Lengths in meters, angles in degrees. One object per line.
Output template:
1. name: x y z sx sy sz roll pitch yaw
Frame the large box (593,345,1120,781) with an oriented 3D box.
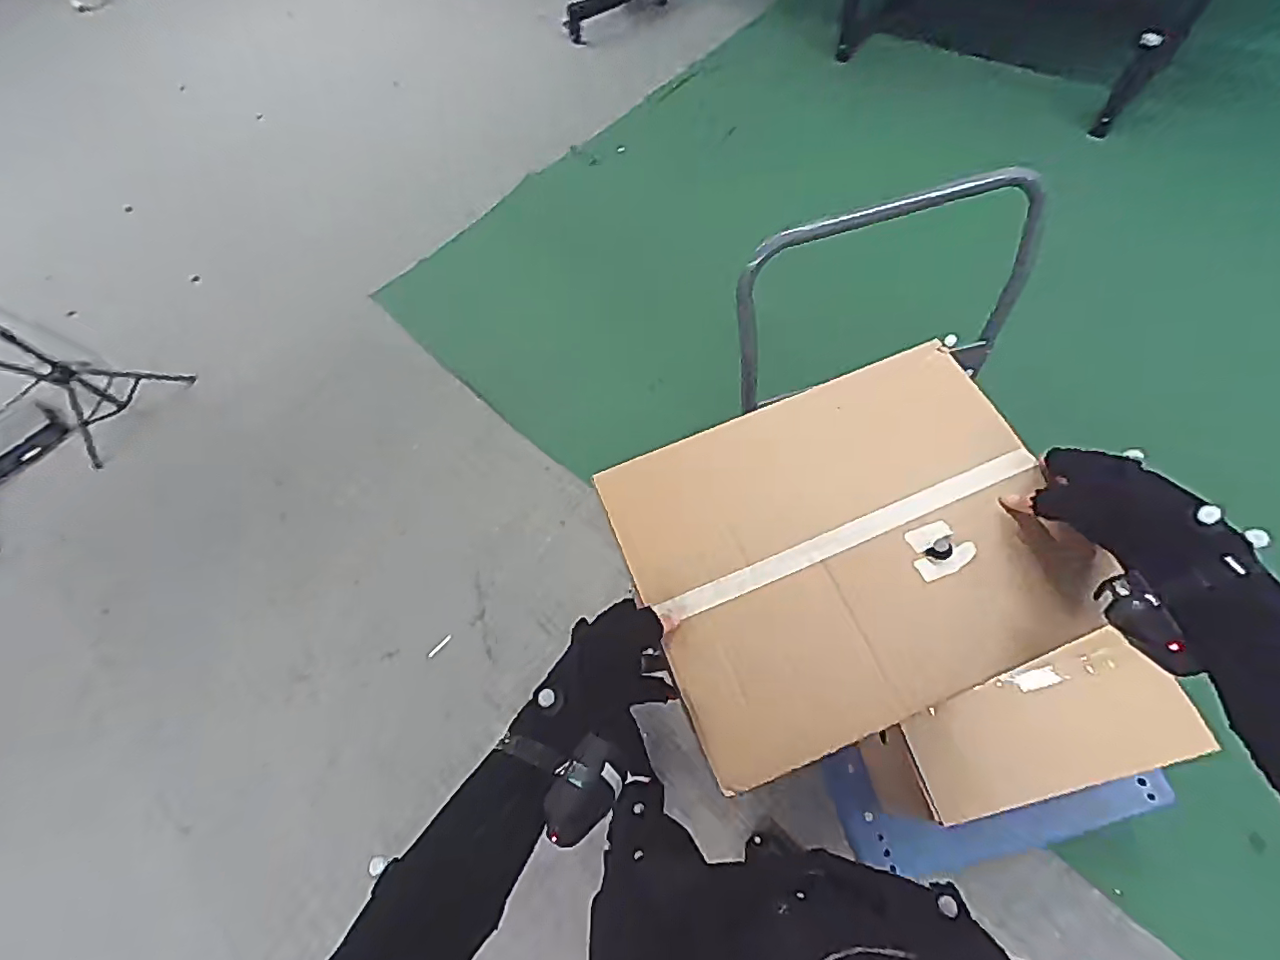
1. large box: 0.197 0.110 0.652 0.408 0.320 0.320 -21 67 -5
